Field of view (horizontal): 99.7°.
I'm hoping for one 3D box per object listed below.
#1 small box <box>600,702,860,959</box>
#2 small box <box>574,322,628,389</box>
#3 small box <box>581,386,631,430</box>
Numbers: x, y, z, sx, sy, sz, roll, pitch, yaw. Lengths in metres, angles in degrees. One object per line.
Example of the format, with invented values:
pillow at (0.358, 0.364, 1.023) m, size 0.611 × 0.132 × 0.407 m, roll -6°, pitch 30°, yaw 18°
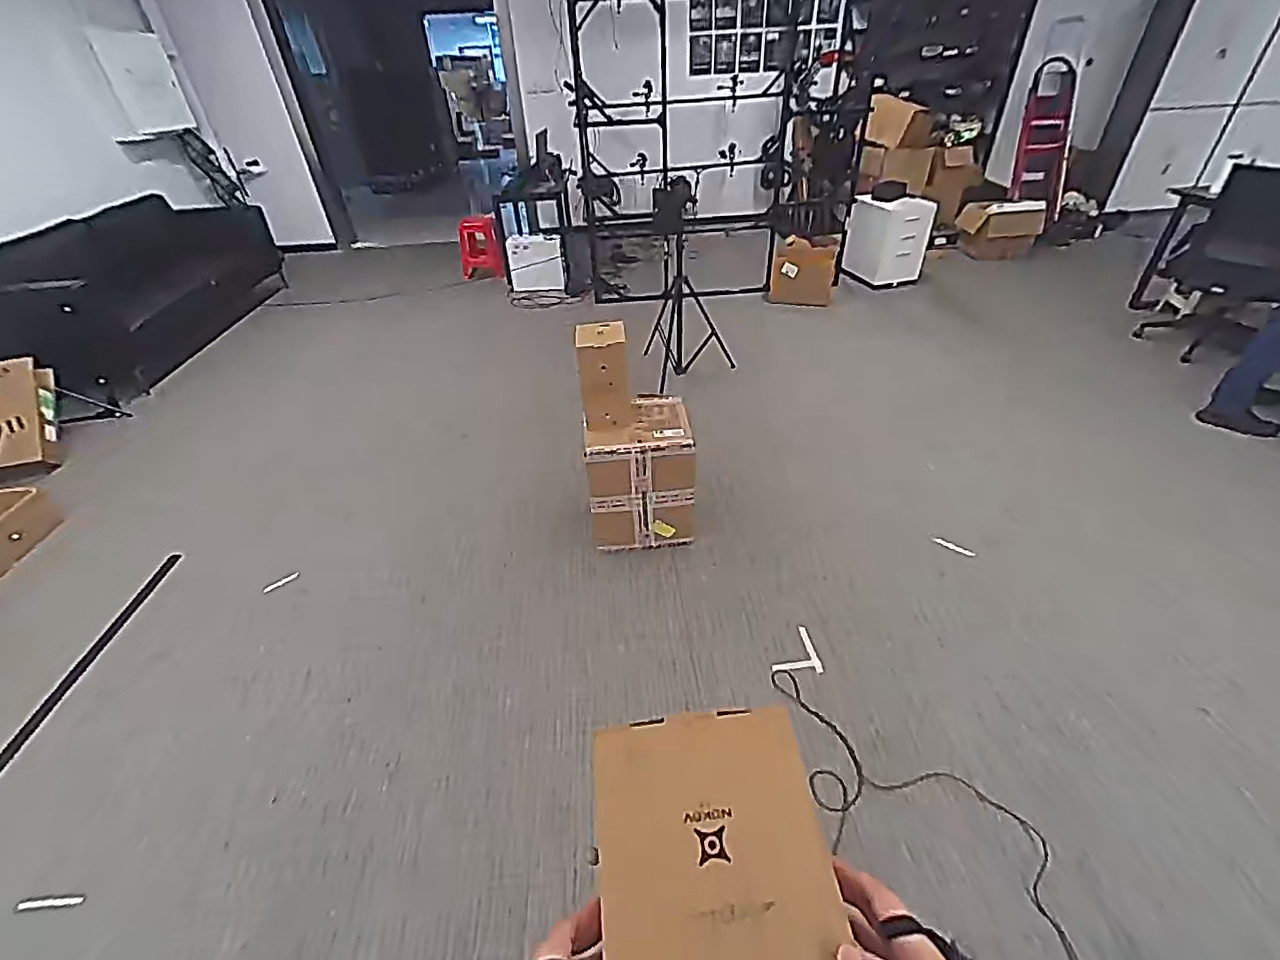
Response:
small box at (0.056, 0.313, 0.458) m, size 0.168 × 0.176 × 0.179 m, roll -6°, pitch 48°, yaw -2°
small box at (-0.132, -0.426, 1.877) m, size 0.168 × 0.176 × 0.179 m, roll -6°, pitch 40°, yaw -1°
small box at (-0.127, -0.304, 1.988) m, size 0.168 × 0.176 × 0.179 m, roll -8°, pitch 40°, yaw -2°
